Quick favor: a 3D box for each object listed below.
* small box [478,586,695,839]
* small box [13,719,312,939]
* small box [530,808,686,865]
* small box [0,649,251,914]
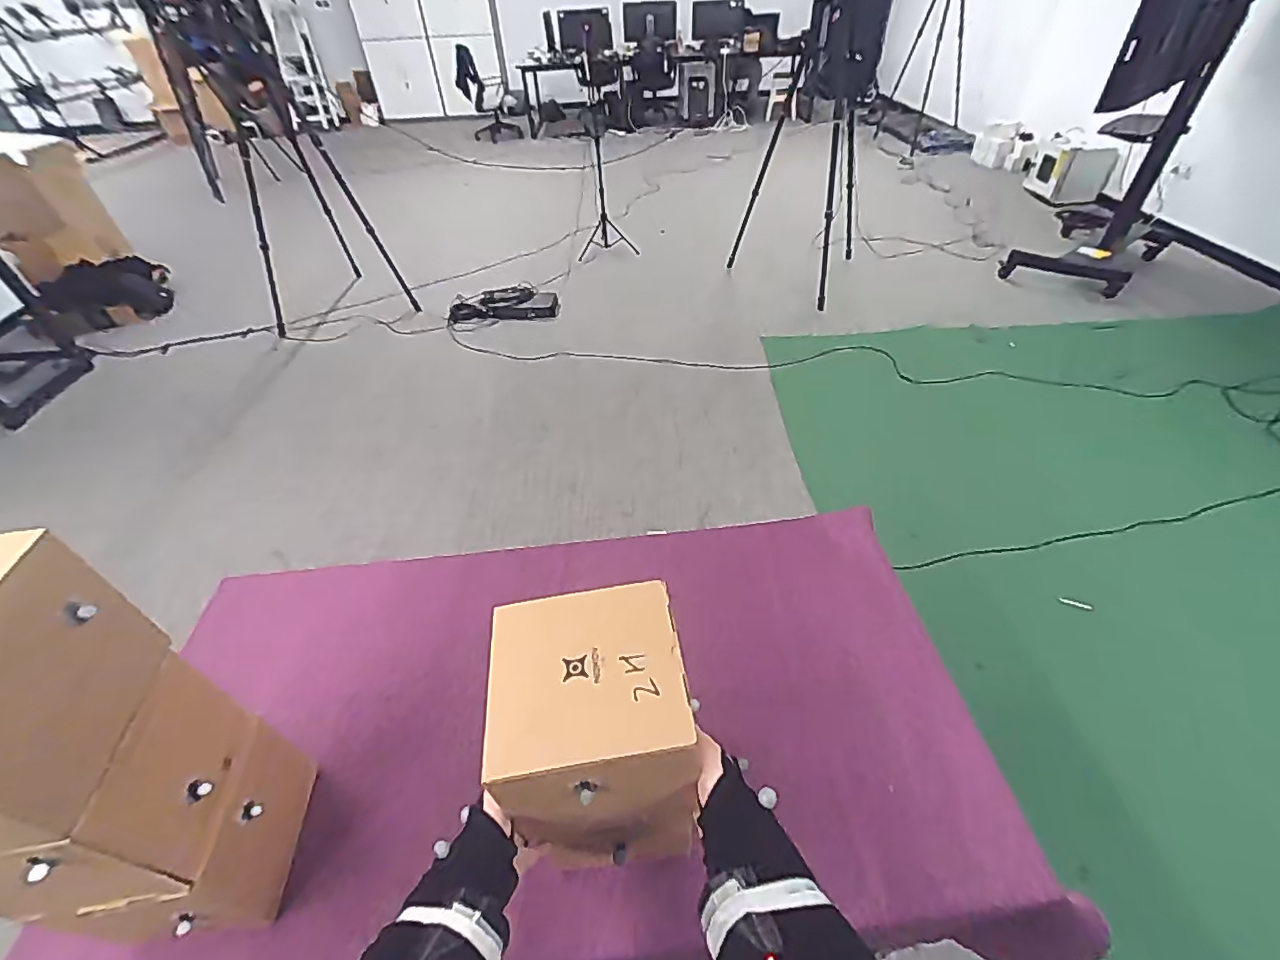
[{"bbox_3d":[-0.045,0.232,0.538,0.179,0.176,0.168,-8,43,-3],"label":"small box"},{"bbox_3d":[-0.520,0.408,0.630,0.168,0.176,0.179,-5,42,-4],"label":"small box"},{"bbox_3d":[-0.035,0.352,0.664,0.168,0.176,0.179,-5,44,-2],"label":"small box"},{"bbox_3d":[-0.530,0.289,0.520,0.179,0.176,0.168,-6,43,-6],"label":"small box"}]
